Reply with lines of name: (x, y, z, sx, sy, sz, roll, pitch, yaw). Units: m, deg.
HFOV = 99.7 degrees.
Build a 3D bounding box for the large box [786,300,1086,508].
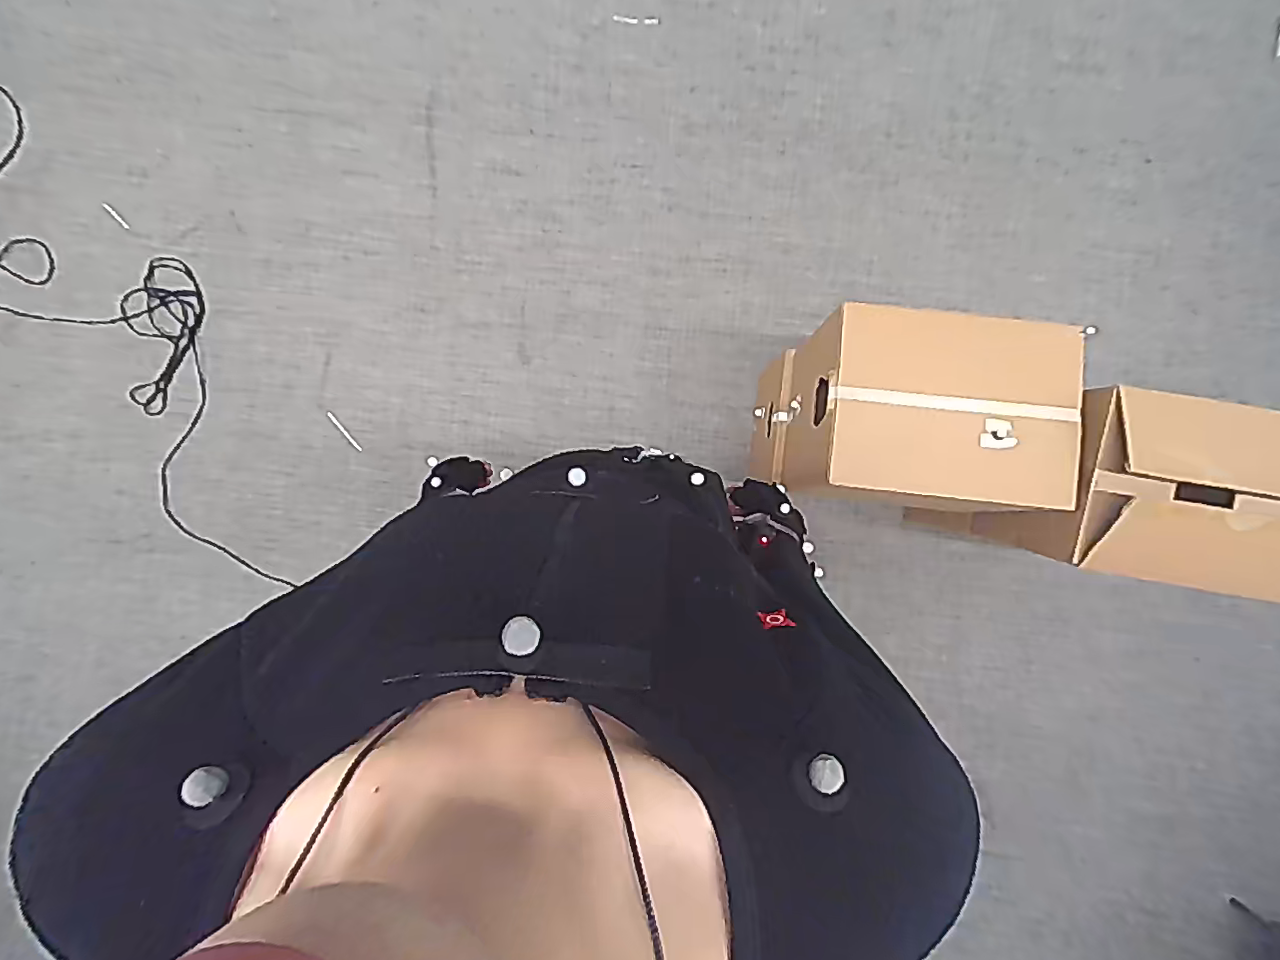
large box: (0.520, -0.119, 1.028, 0.408, 0.320, 0.320, 6, 87, 1)
